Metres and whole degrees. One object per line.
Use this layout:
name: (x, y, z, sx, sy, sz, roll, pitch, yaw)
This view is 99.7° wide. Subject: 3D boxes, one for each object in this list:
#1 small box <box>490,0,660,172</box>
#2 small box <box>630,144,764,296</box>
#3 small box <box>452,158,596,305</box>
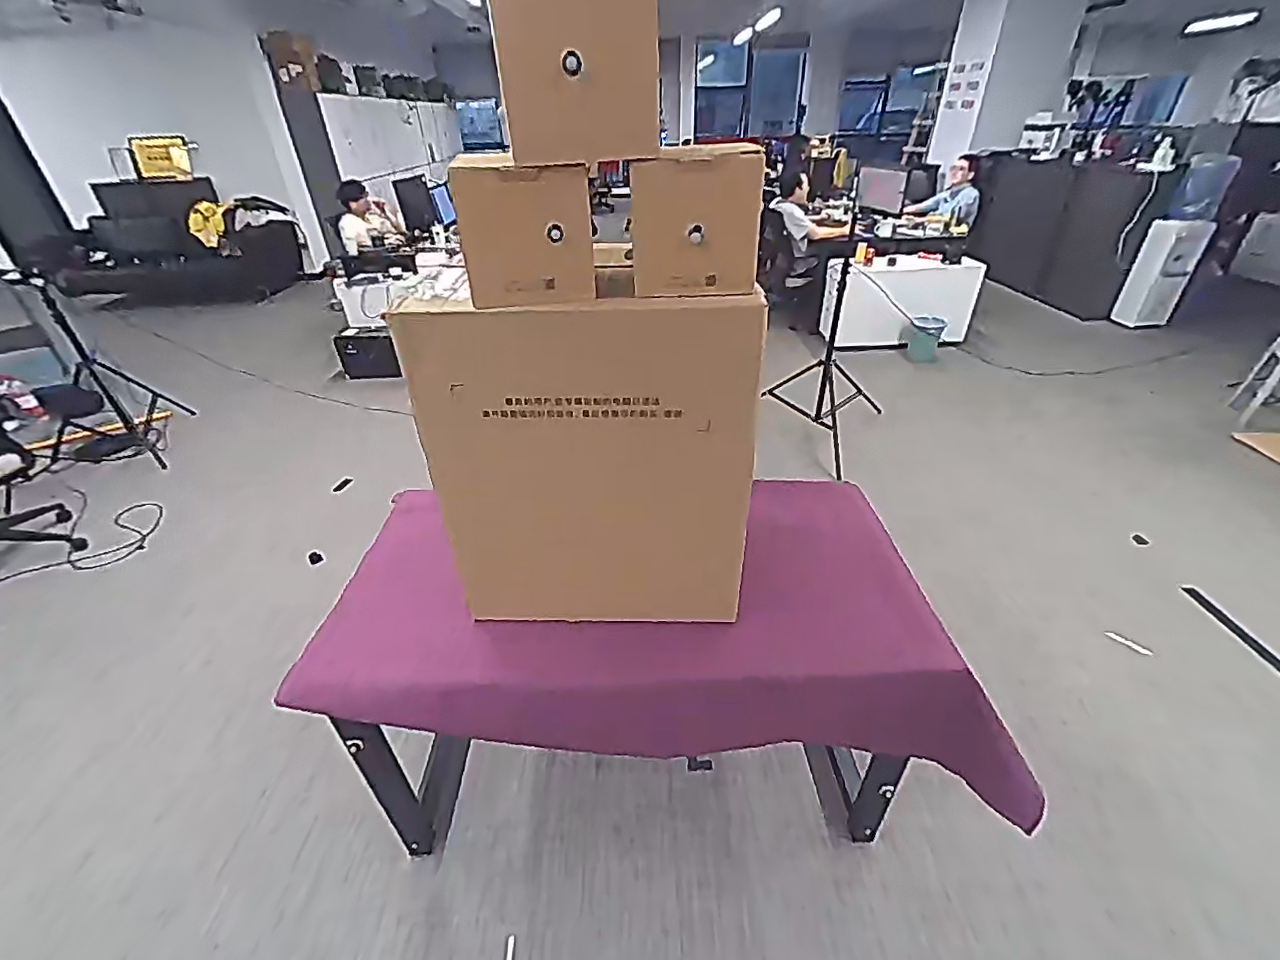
small box: (-0.071, -0.484, 0.659, 0.179, 0.176, 0.168, -7, 35, -3)
small box: (0.076, -0.366, 0.765, 0.168, 0.176, 0.179, 0, 35, 3)
small box: (-0.156, -0.350, 0.760, 0.168, 0.176, 0.179, -7, 34, -9)
